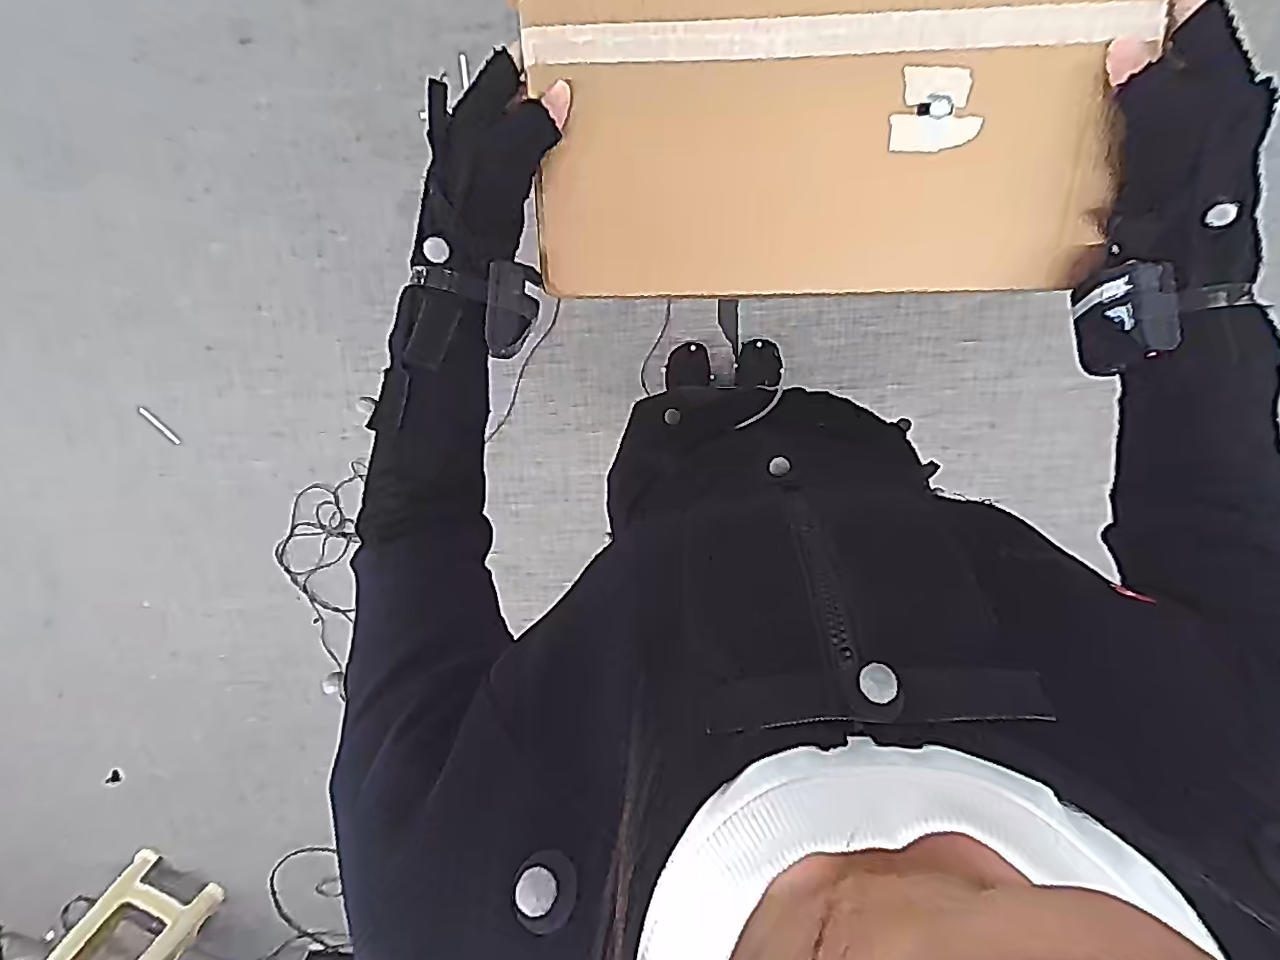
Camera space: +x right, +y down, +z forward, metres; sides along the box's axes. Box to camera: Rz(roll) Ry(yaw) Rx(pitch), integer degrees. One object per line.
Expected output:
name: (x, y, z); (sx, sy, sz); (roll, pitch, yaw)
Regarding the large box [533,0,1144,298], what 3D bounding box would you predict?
large box: (0.131, -0.340, 0.504); (0.408, 0.320, 0.320); (0, 109, 2)
